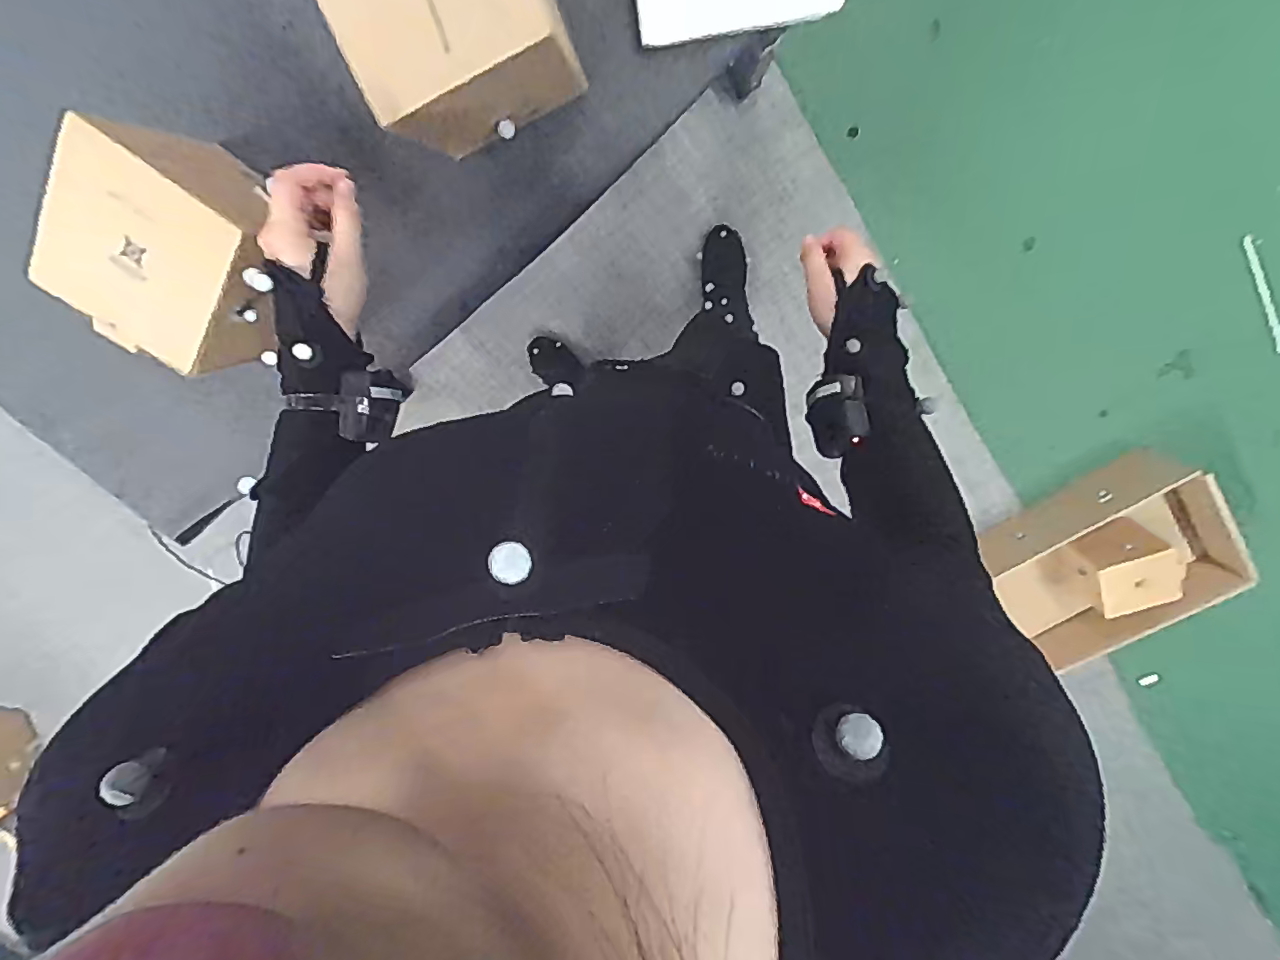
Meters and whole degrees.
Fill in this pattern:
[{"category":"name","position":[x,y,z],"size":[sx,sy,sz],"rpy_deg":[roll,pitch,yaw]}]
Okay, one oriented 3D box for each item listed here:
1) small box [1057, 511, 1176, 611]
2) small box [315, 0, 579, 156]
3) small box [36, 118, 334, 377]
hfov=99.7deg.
[{"category":"small box","position":[1.244,0.211,1.427],"size":[0.179,0.176,0.168],"rpy_deg":[-23,112,14]},{"category":"small box","position":[-0.172,-0.427,0.487],"size":[0.168,0.176,0.179],"rpy_deg":[-19,111,13]},{"category":"small box","position":[-0.479,-0.244,0.594],"size":[0.168,0.176,0.179],"rpy_deg":[34,110,-12]}]
